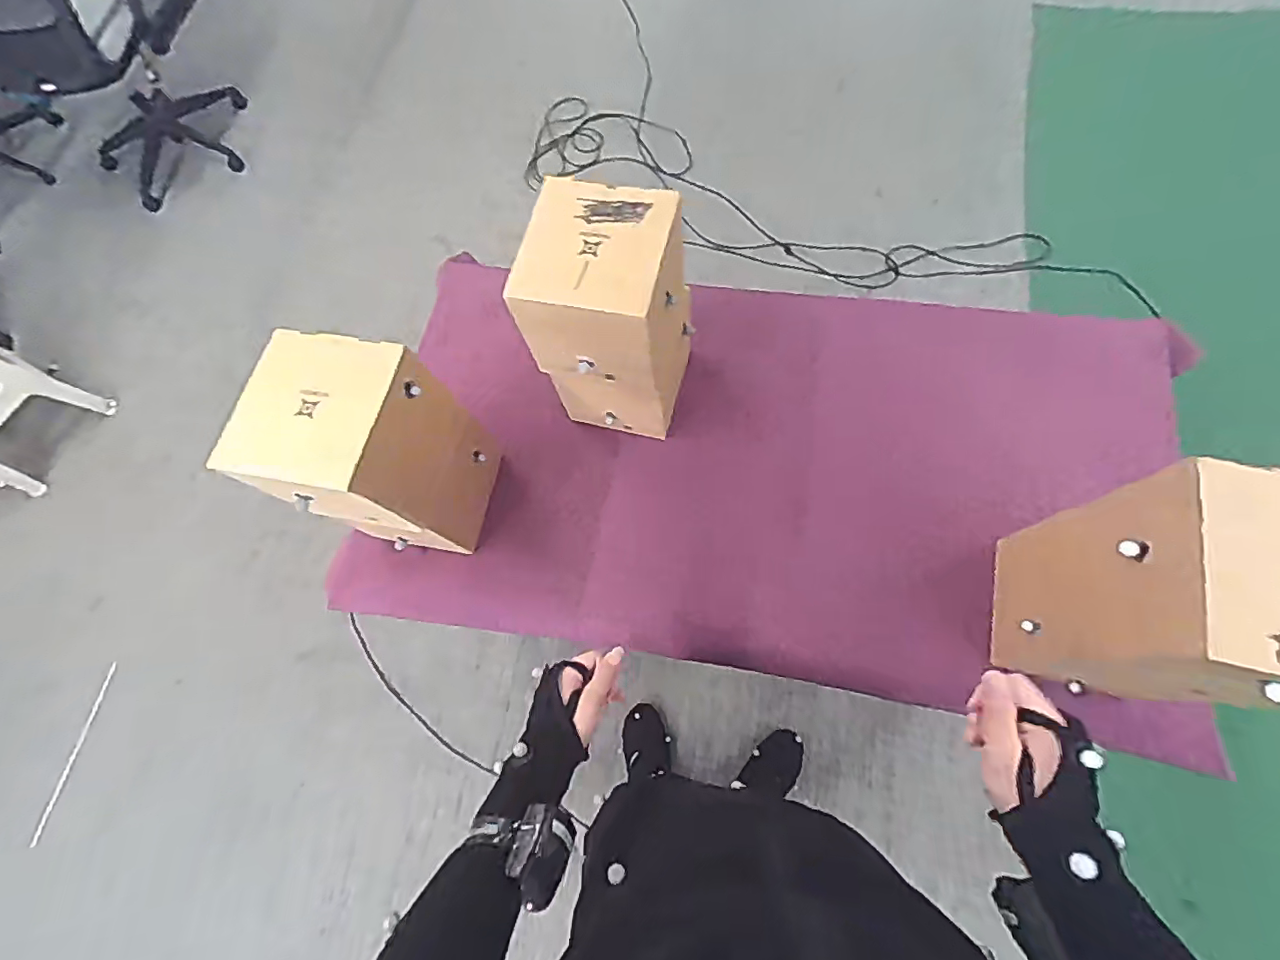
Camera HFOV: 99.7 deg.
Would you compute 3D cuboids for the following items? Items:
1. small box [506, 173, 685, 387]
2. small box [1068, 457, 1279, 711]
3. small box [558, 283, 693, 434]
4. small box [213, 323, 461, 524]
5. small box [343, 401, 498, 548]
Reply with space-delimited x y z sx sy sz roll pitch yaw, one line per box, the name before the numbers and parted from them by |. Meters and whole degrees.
small box | -0.042 -0.243 0.680 0.168 0.176 0.179 12 74 10
small box | 0.539 0.103 0.502 0.168 0.176 0.179 13 72 11
small box | -0.020 -0.195 0.835 0.168 0.176 0.179 14 74 10
small box | -0.340 -0.058 0.648 0.168 0.176 0.179 9 70 10
small box | -0.328 -0.012 0.803 0.168 0.176 0.179 9 72 9
